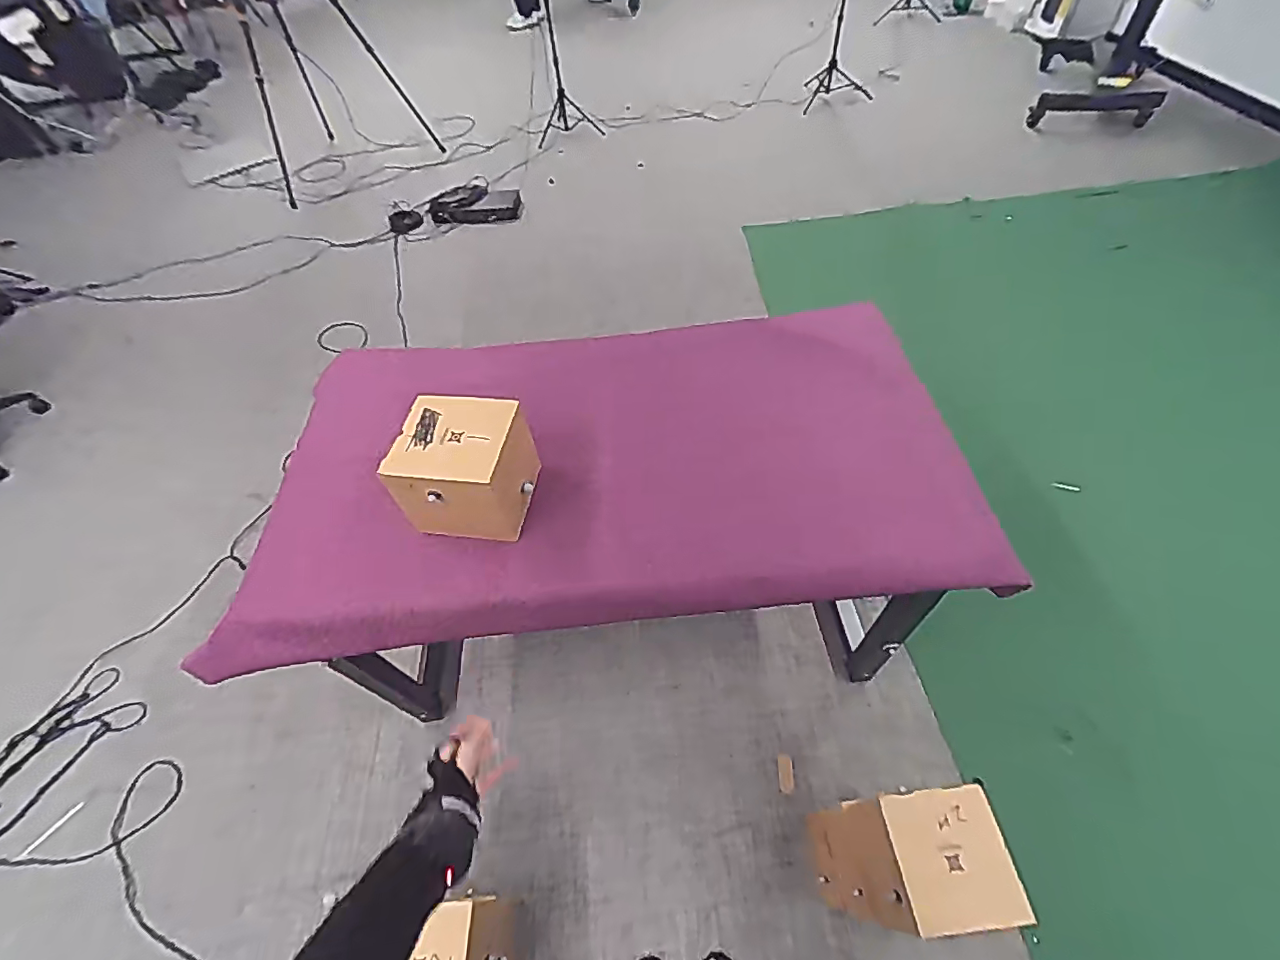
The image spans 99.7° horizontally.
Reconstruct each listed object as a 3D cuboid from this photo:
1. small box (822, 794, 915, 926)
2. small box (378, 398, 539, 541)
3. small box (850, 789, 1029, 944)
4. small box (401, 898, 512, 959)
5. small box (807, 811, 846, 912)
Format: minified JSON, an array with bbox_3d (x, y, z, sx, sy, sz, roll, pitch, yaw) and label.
[{"bbox_3d":[0.453,0.698,0.999,0.168,0.176,0.179,-7,54,-1],"label":"small box"},{"bbox_3d":[-0.281,-0.014,0.885,0.179,0.176,0.168,5,54,7],"label":"small box"},{"bbox_3d":[0.458,0.607,0.861,0.168,0.176,0.179,-6,54,-1],"label":"small box"},{"bbox_3d":[-0.363,0.949,1.077,0.168,0.176,0.179,-3,54,2],"label":"small box"},{"bbox_3d":[0.458,0.794,1.130,0.179,0.176,0.168,-5,53,0],"label":"small box"}]
